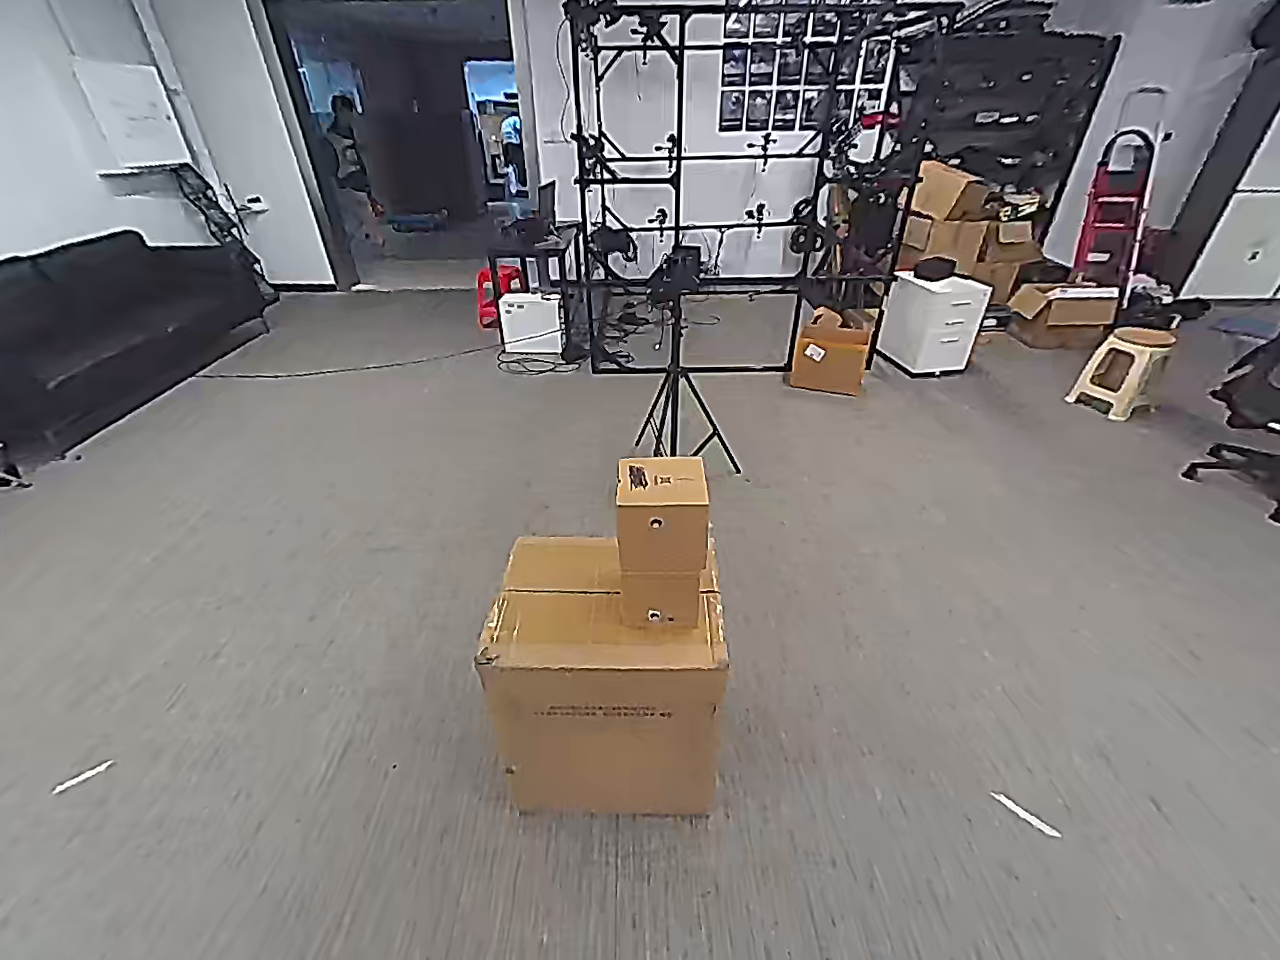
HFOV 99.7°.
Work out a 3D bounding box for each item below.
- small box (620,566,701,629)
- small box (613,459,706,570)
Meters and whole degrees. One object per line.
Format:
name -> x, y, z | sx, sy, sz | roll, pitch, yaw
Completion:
small box -> 0.045, 0.207, 1.200 | 0.168, 0.176, 0.179 | -2, 35, 2
small box -> 0.042, 0.072, 1.107 | 0.179, 0.176, 0.168 | -1, 34, 2
